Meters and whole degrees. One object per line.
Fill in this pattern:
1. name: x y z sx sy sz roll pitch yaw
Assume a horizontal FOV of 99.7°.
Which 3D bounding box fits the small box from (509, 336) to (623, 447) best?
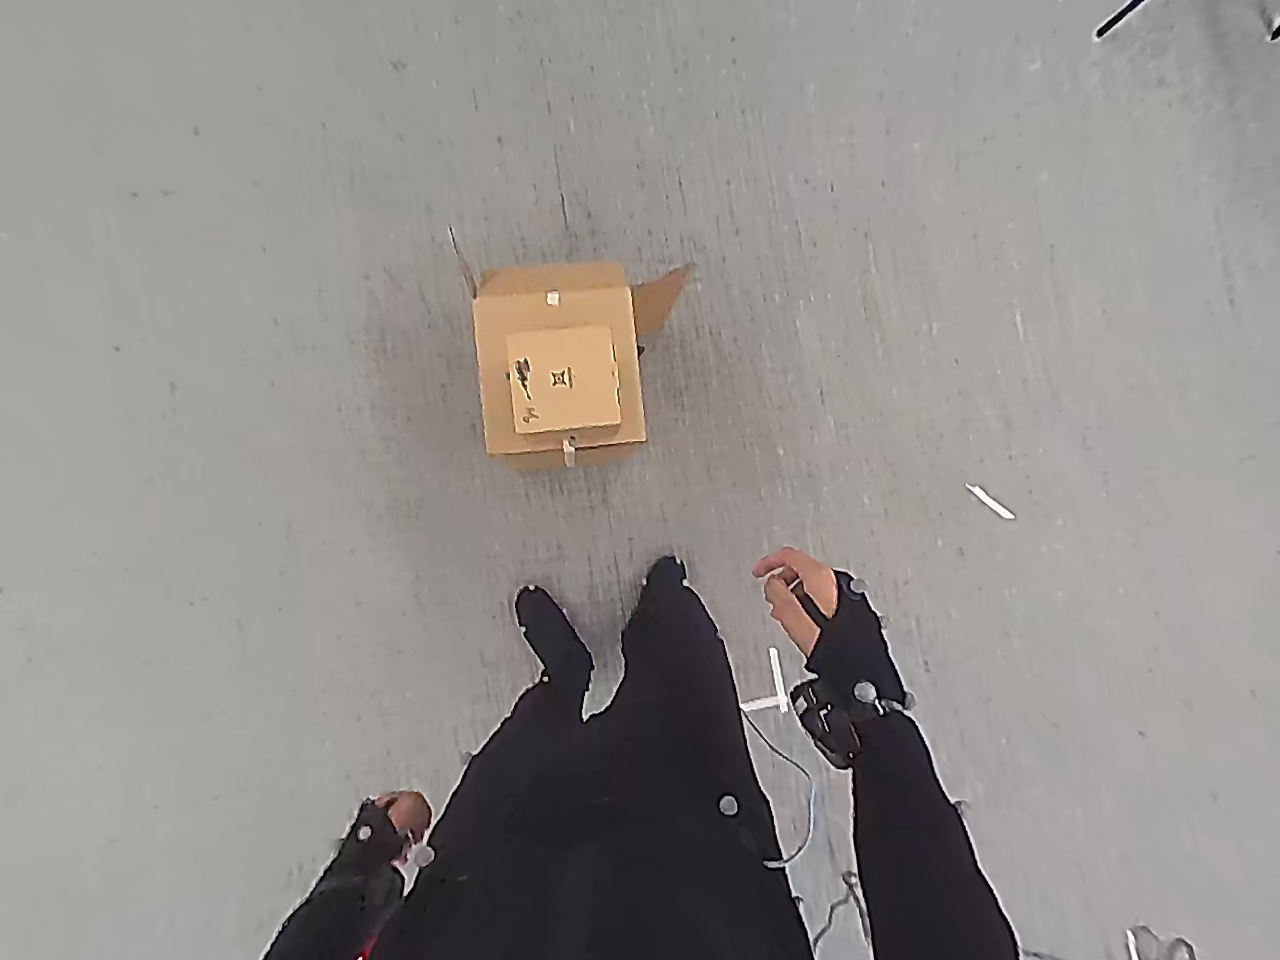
1. small box: -0.129 -0.151 0.966 0.179 0.176 0.168 -6 89 -6
